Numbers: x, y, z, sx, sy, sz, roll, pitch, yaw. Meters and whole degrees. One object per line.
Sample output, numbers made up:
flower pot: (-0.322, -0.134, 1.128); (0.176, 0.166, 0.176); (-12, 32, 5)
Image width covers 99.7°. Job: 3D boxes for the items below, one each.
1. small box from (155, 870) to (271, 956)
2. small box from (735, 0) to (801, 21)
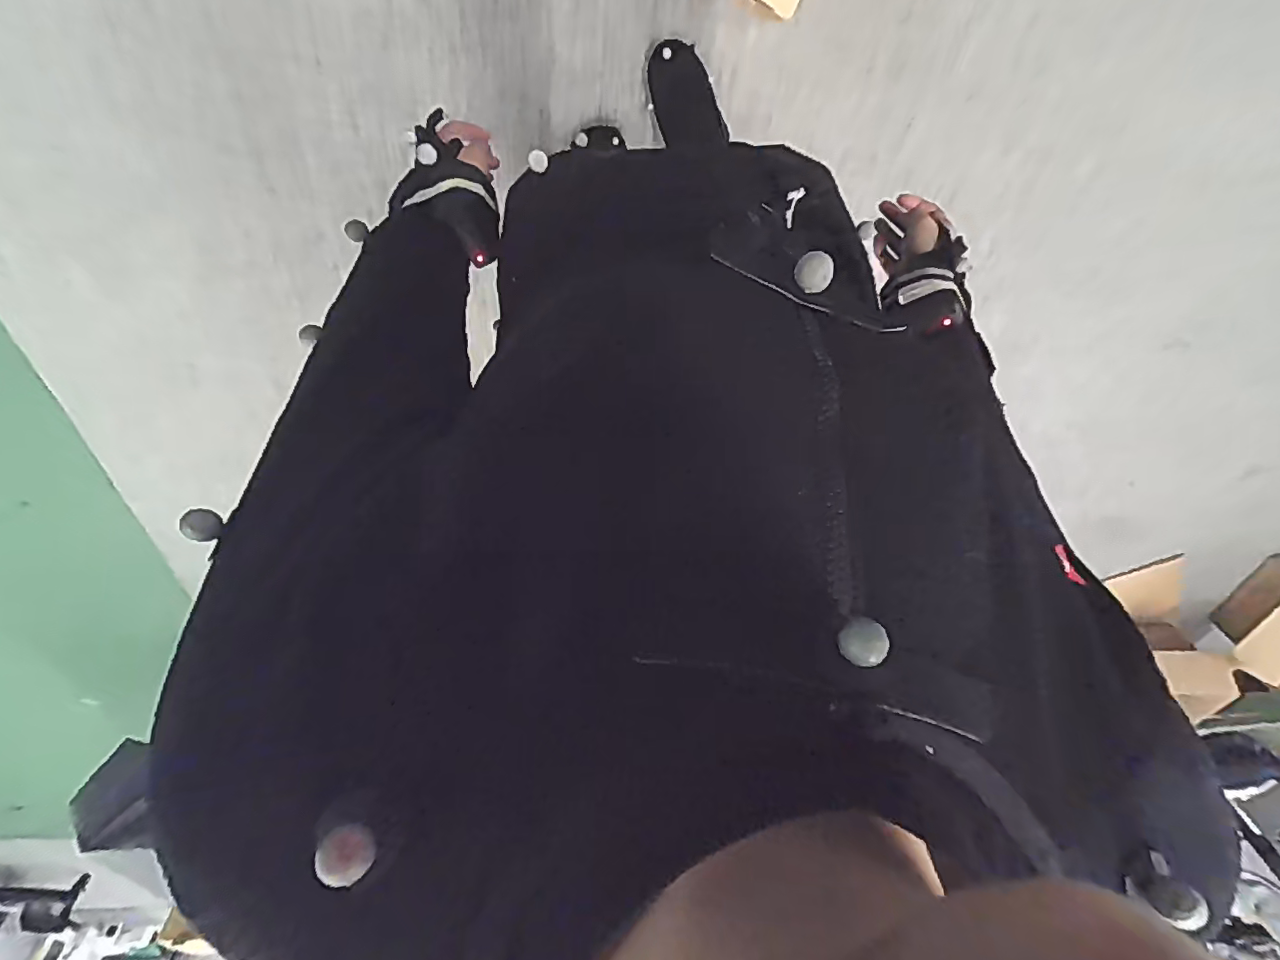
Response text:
small box: (-1.222, 1.248, 1.564); (0.168, 0.176, 0.179); (-4, 132, 2)
small box: (0.191, -0.843, 0.817); (0.168, 0.176, 0.179); (18, 127, -19)
